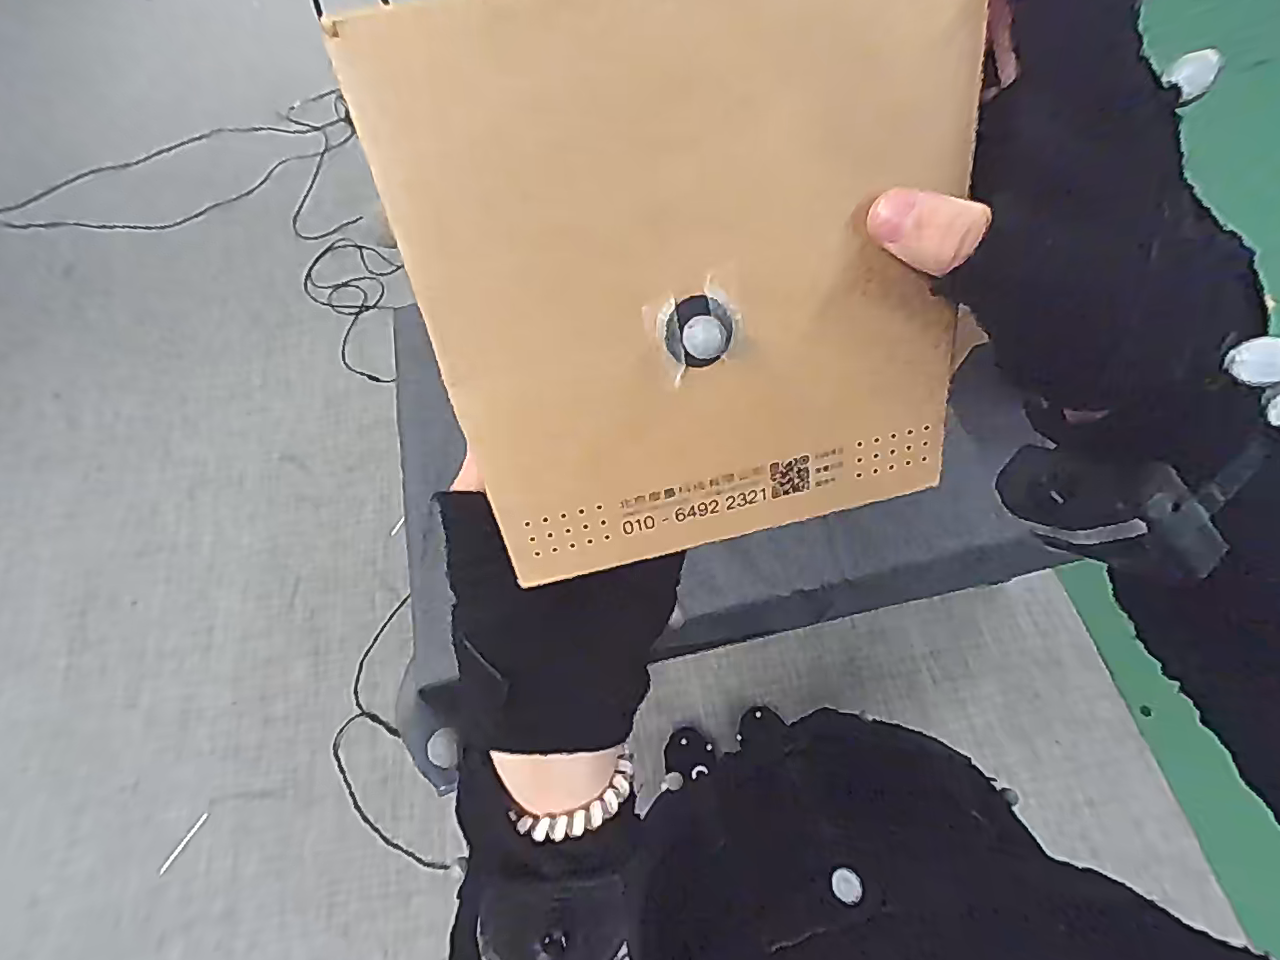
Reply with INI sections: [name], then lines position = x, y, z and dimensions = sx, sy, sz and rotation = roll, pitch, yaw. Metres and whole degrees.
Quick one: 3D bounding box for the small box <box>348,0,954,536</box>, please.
[small box]
position = 0.010, -0.090, 0.243
dimensions = 0.168, 0.176, 0.179
rotation = -13, 28, -3
